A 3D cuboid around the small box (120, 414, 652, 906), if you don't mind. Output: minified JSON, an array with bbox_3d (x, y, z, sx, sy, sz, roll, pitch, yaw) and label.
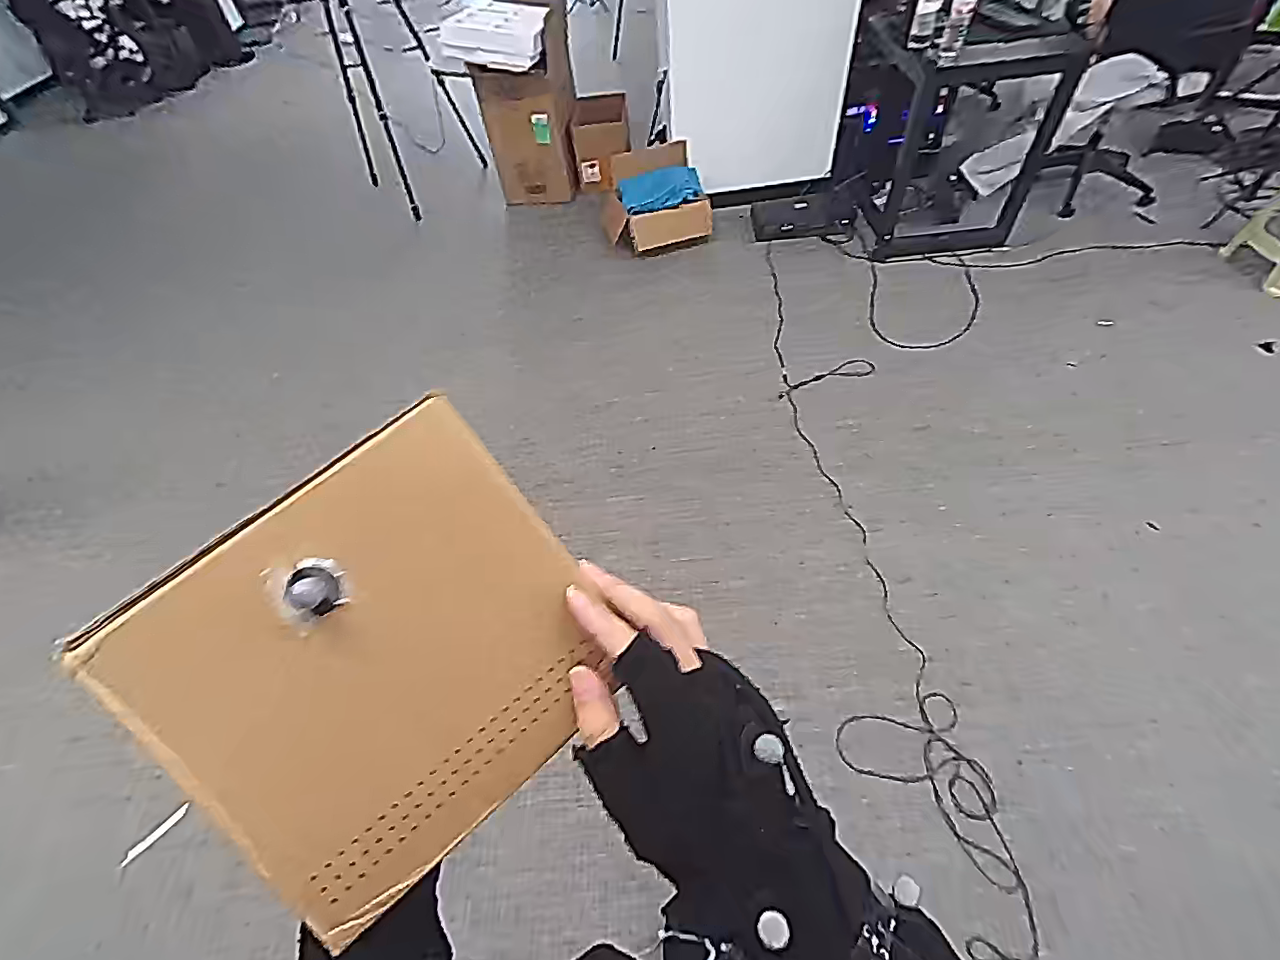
[{"bbox_3d":[-0.123,0.090,0.327,0.179,0.168,0.176,-39,97,-15],"label":"small box"}]
